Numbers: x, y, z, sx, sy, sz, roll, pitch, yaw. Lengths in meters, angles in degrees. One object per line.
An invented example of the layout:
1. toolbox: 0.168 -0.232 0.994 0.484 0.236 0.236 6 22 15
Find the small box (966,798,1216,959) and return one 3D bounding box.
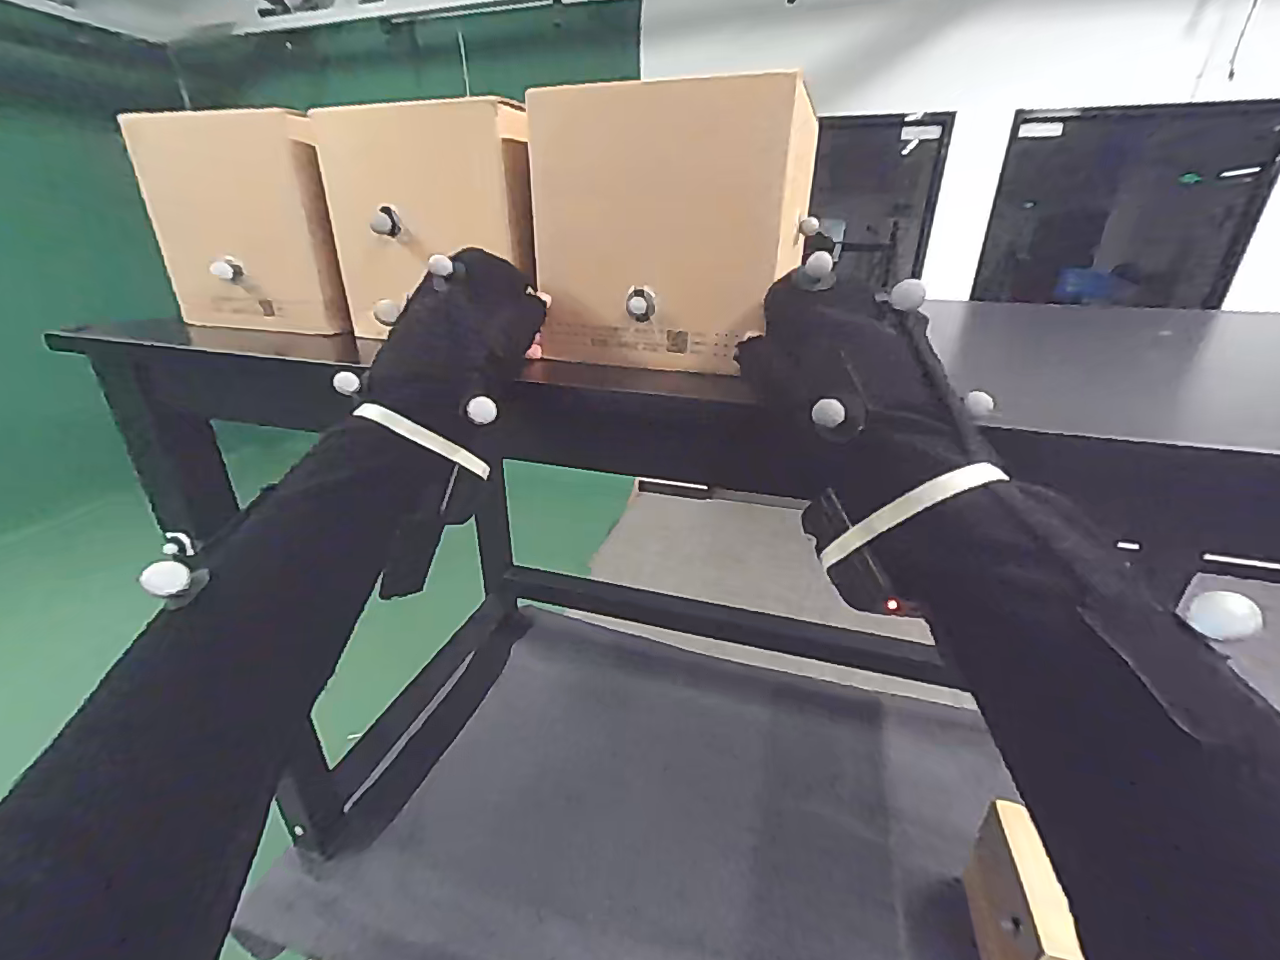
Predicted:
1. small box: 0.510 0.526 0.634 0.168 0.176 0.179 7 25 14

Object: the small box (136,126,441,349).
1. small box: -0.317 -0.235 0.530 0.168 0.176 0.179 7 27 14
